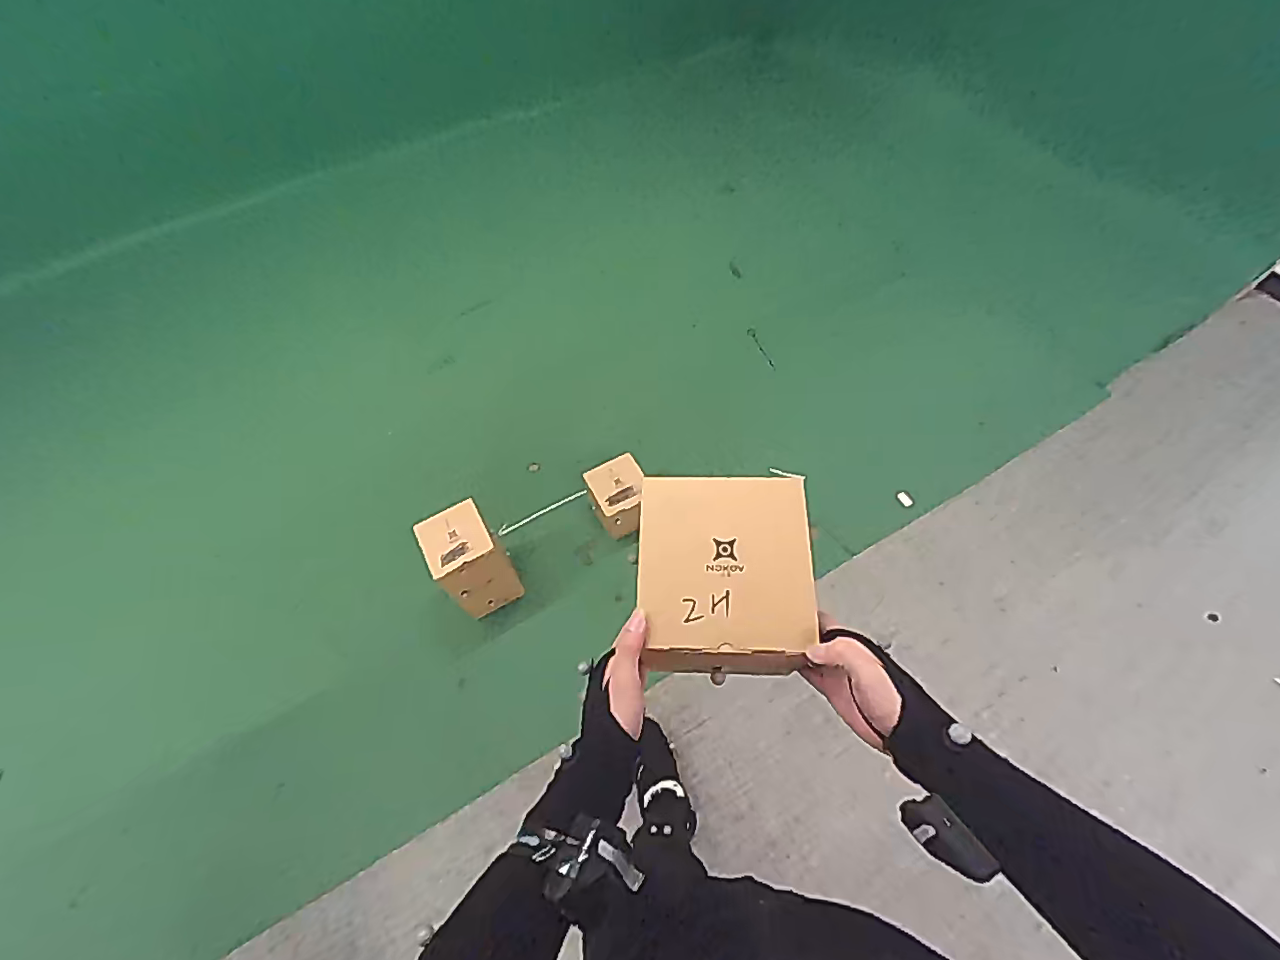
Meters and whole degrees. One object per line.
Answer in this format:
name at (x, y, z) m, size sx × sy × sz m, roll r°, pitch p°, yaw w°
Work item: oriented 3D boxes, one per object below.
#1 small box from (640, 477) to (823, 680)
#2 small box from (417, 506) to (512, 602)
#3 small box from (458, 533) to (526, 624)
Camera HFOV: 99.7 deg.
small box at (0.090, 0.112, 0.587) m, size 0.168 × 0.176 × 0.179 m, roll 1°, pitch 64°, yaw 5°
small box at (-0.464, 0.207, 1.448) m, size 0.168 × 0.176 × 0.179 m, roll -27°, pitch 60°, yaw -13°
small box at (-0.455, 0.292, 1.587) m, size 0.168 × 0.176 × 0.179 m, roll -28°, pitch 61°, yaw -13°
